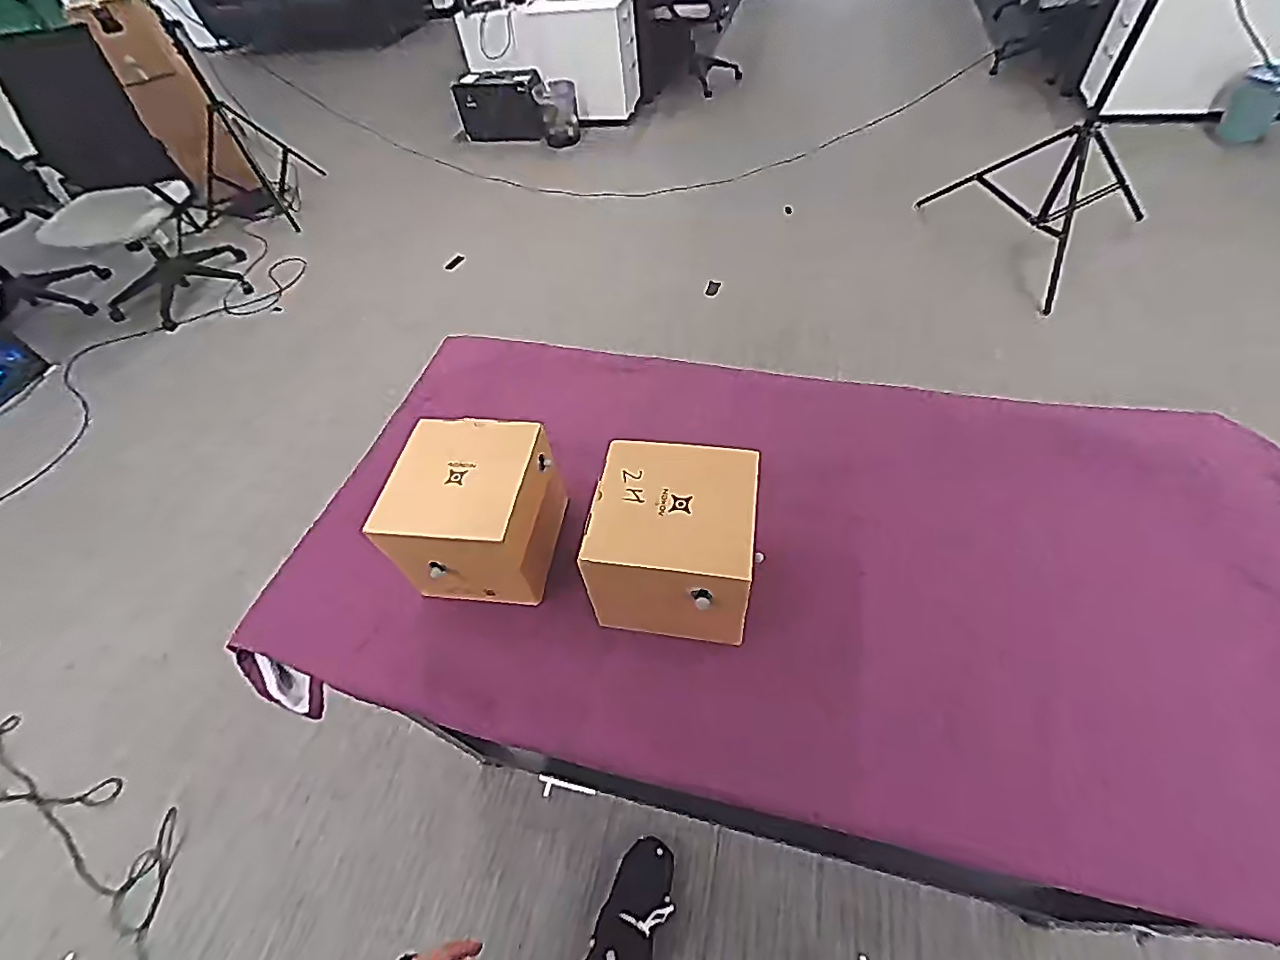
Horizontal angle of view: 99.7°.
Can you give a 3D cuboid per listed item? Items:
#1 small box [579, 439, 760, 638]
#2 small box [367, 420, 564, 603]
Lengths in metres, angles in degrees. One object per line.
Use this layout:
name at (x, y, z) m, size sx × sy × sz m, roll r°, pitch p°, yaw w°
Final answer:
small box at (0.043, 0.073, 0.641) m, size 0.179 × 0.176 × 0.168 m, roll 5°, pitch 52°, yaw 10°
small box at (-0.205, 0.043, 0.698) m, size 0.168 × 0.176 × 0.179 m, roll 2°, pitch 52°, yaw 9°
